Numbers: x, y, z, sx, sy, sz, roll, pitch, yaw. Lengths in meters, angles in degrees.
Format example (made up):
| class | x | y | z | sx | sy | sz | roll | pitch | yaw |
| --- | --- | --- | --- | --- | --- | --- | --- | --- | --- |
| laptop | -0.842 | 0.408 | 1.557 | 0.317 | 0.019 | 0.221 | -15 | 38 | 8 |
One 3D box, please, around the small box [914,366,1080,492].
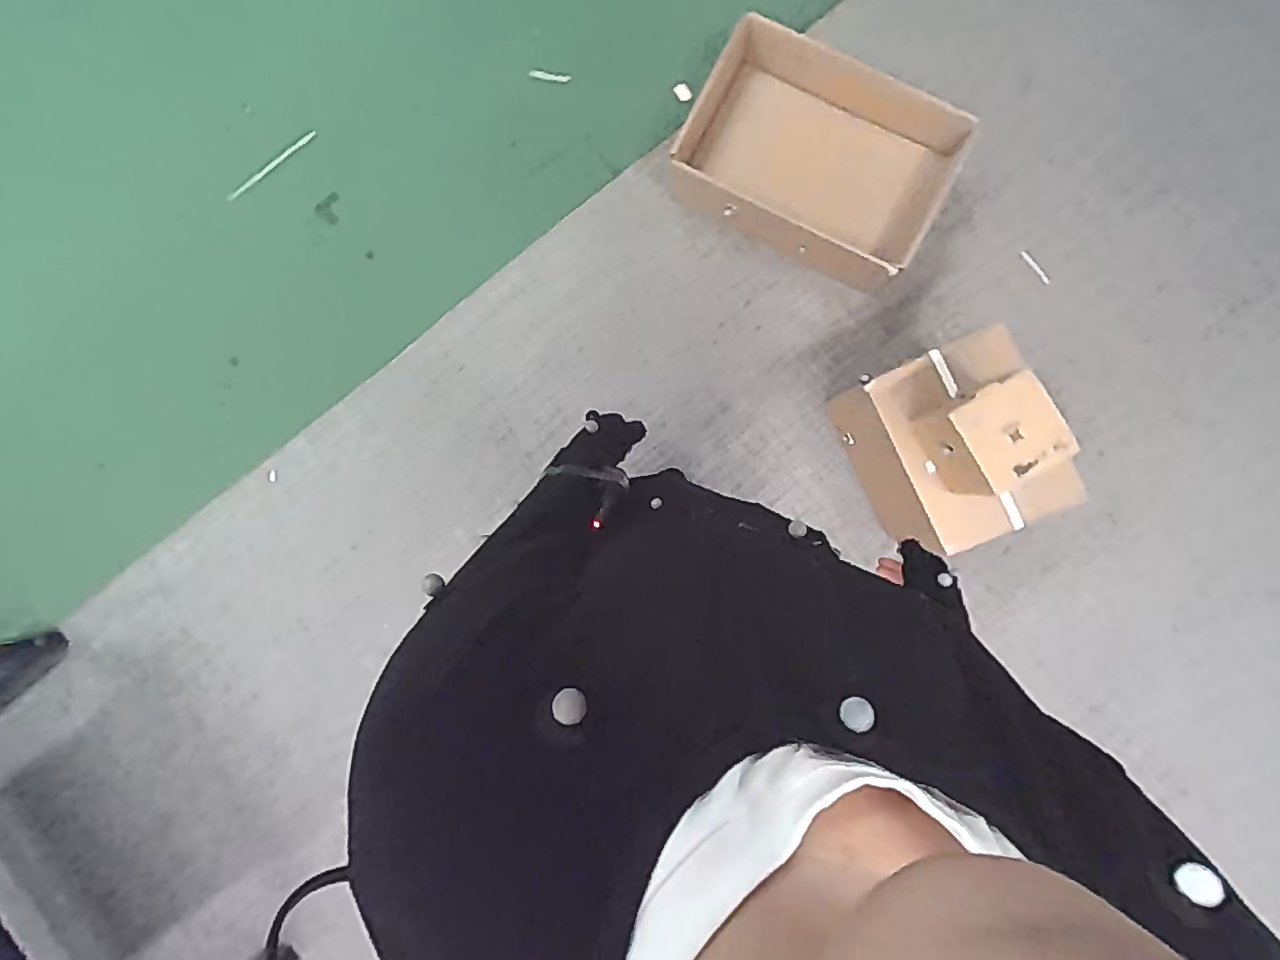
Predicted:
| class | x | y | z | sx | sy | sz | roll | pitch | yaw |
| --- | --- | --- | --- | --- | --- | --- | --- | --- | --- |
| small box | 0.666 | -0.088 | 1.035 | 0.168 | 0.176 | 0.179 | -30 | 87 | 4 |
